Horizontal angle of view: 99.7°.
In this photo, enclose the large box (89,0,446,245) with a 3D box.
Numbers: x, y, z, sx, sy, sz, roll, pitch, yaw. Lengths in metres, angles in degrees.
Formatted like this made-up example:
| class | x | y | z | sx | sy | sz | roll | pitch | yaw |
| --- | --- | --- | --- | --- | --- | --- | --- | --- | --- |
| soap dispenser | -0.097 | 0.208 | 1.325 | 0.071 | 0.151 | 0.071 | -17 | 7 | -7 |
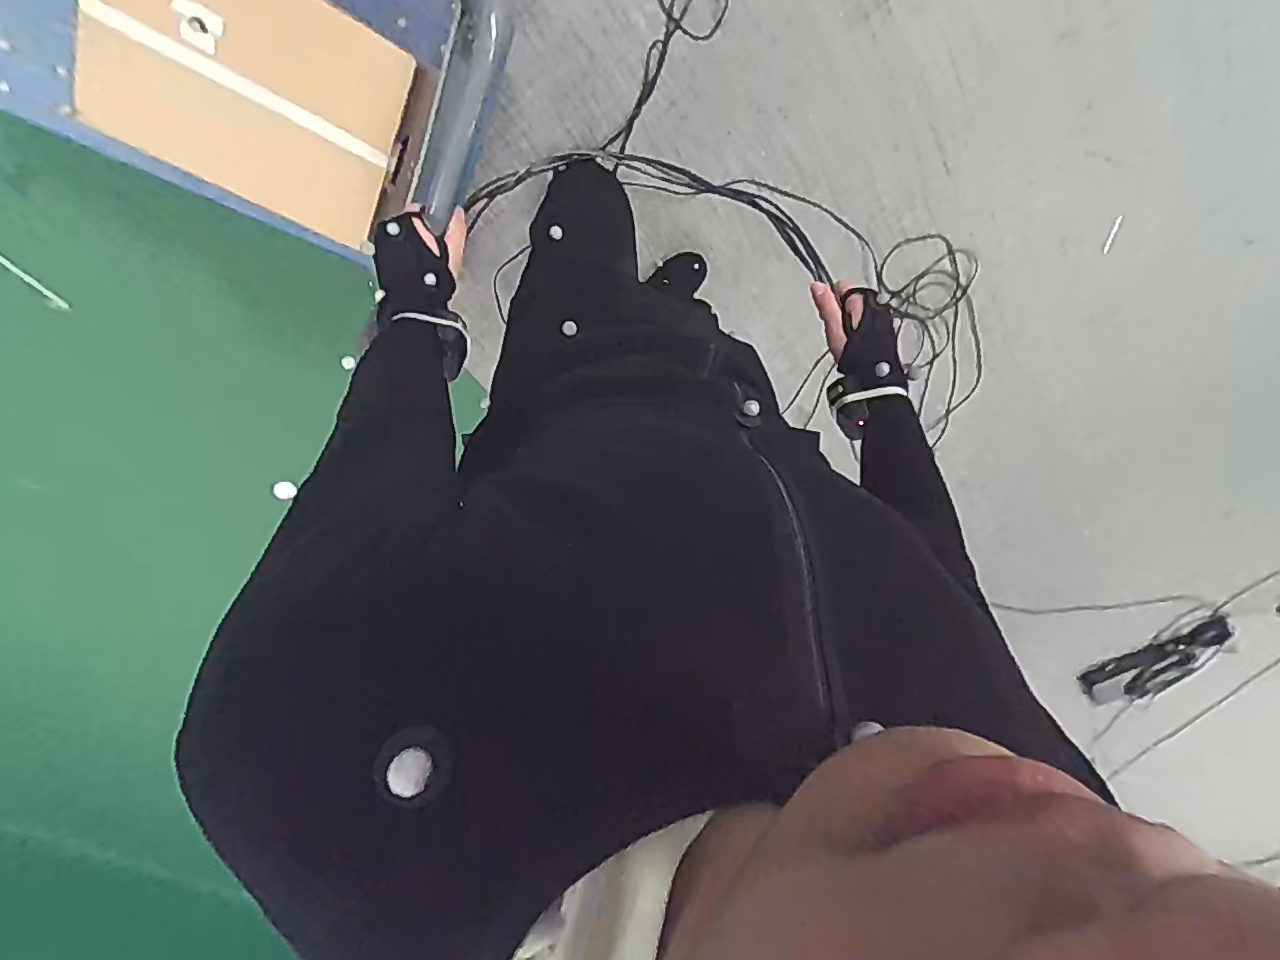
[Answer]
| class | x | y | z | sx | sy | sz | roll | pitch | yaw |
| --- | --- | --- | --- | --- | --- | --- | --- | --- | --- |
| large box | -0.599 | -0.674 | 0.938 | 0.408 | 0.320 | 0.320 | 21 | 116 | -23 |
